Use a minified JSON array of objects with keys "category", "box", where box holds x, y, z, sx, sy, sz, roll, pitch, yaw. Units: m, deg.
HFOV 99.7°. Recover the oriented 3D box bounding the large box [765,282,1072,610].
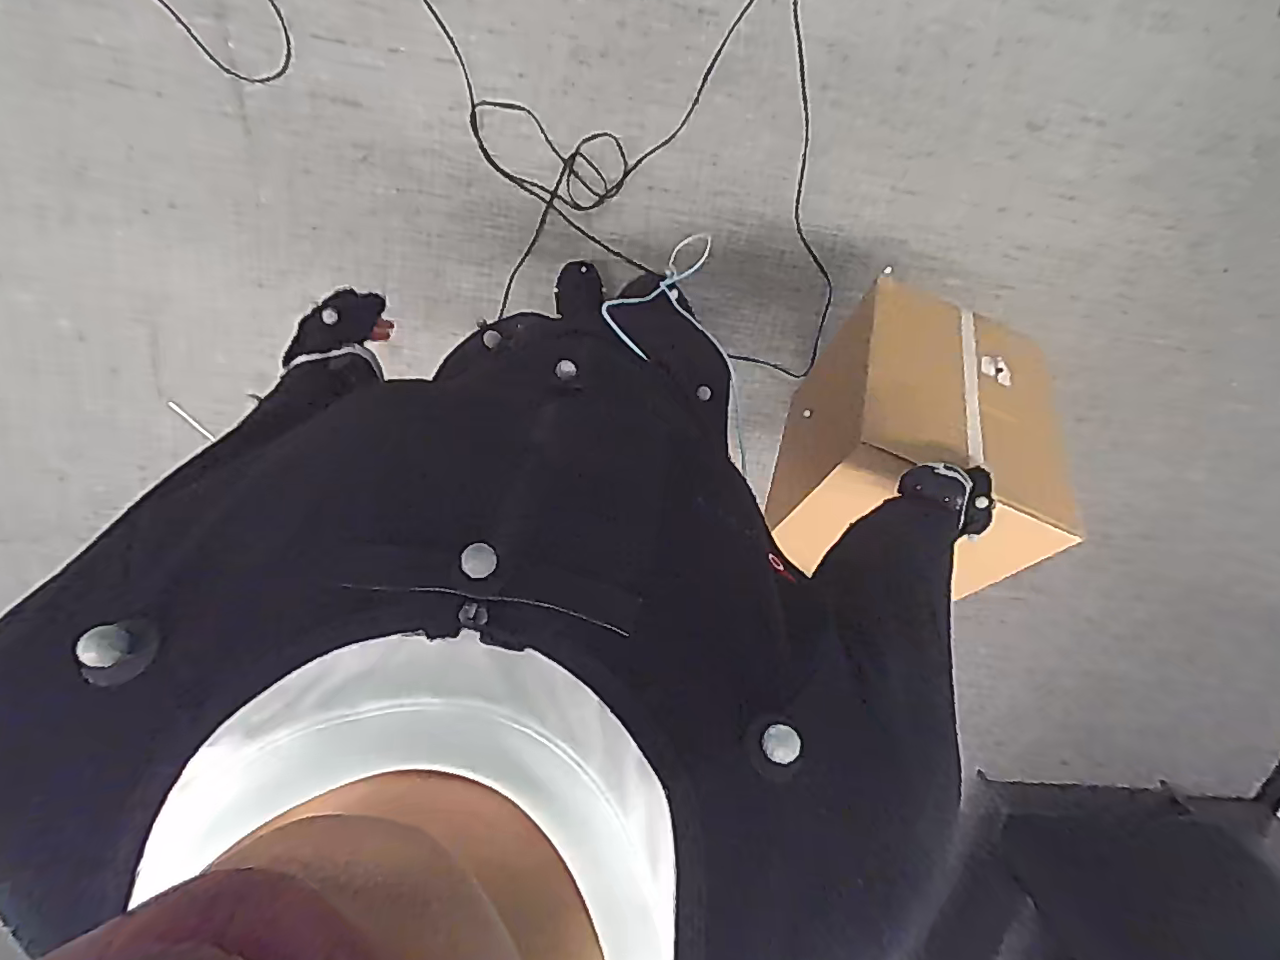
[{"category":"large box","box":[0.443,-0.052,0.929,0.320,0.408,0.320,24,144,-1]}]
